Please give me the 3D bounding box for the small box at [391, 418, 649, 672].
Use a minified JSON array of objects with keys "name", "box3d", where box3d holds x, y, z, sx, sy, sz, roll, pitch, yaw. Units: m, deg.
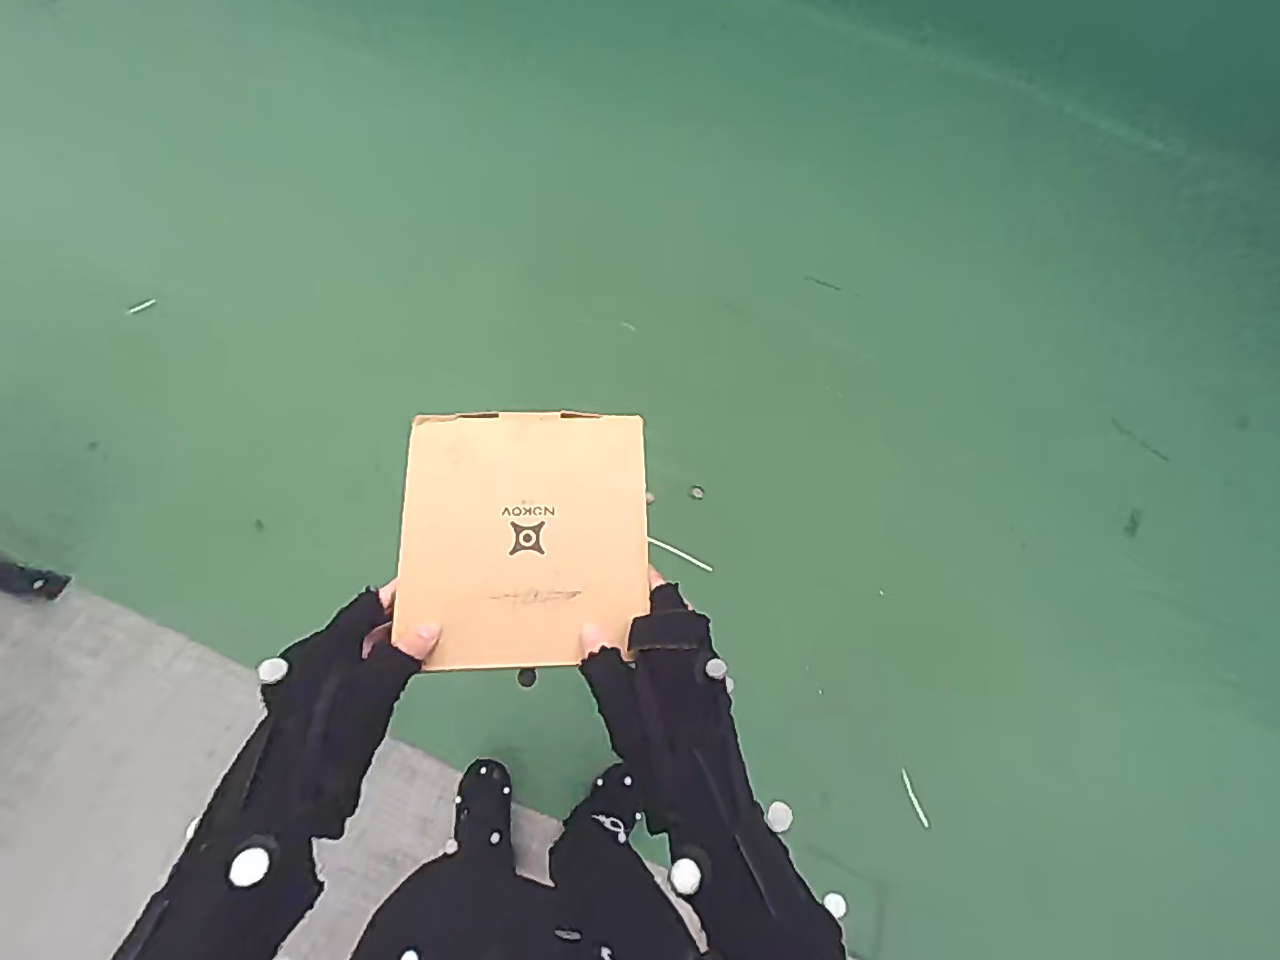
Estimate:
[{"name":"small box","box3d":[-0.086,0.062,0.446,0.168,0.176,0.179,-1,73,-6]}]
